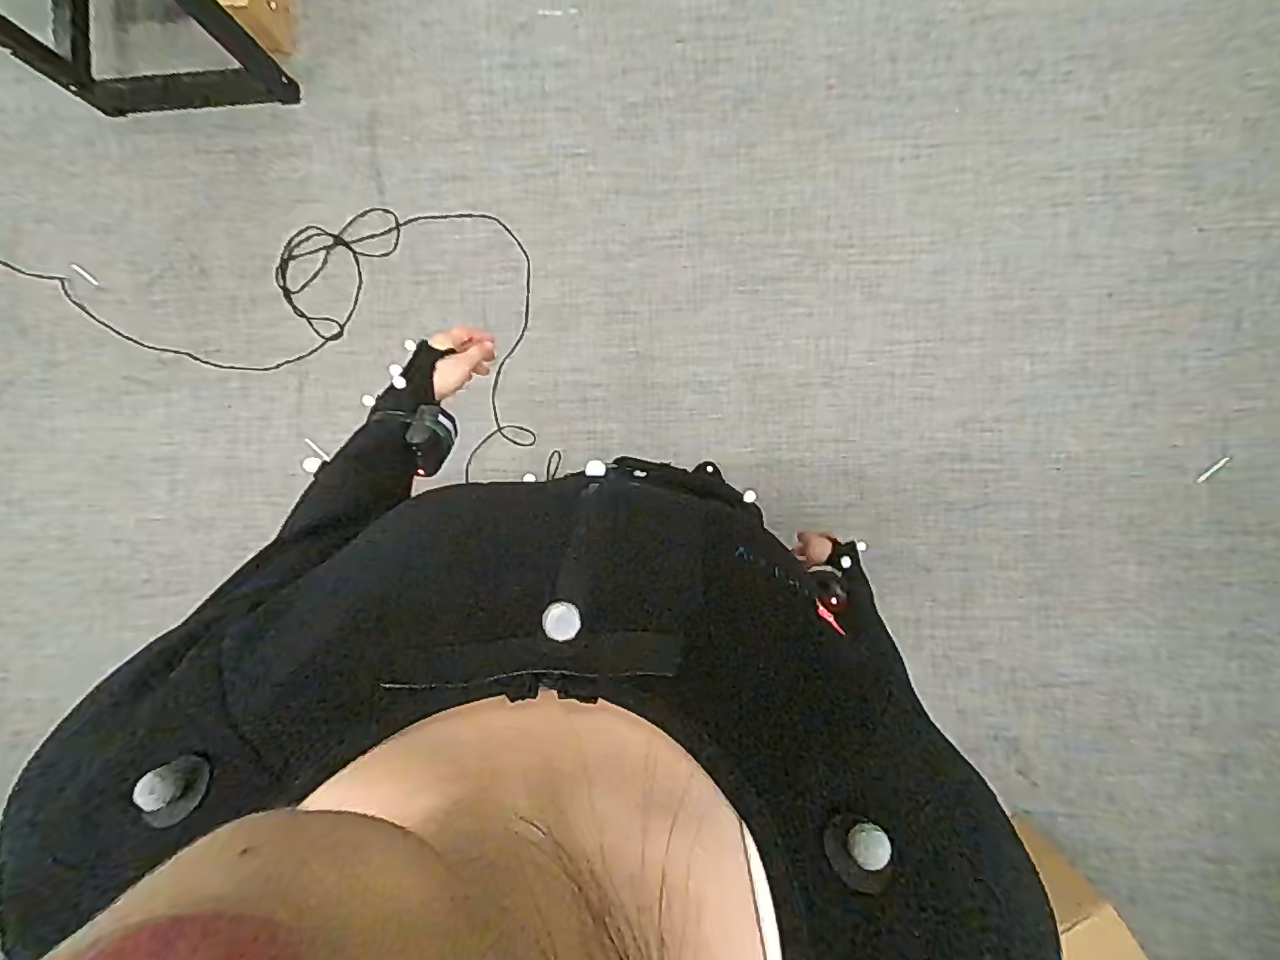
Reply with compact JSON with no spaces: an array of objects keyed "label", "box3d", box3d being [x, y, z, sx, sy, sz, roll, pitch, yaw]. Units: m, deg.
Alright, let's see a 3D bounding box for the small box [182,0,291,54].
[{"label":"small box","box3d":[-1.072,-1.285,1.449,0.179,0.176,0.168,2,92,3]}]
